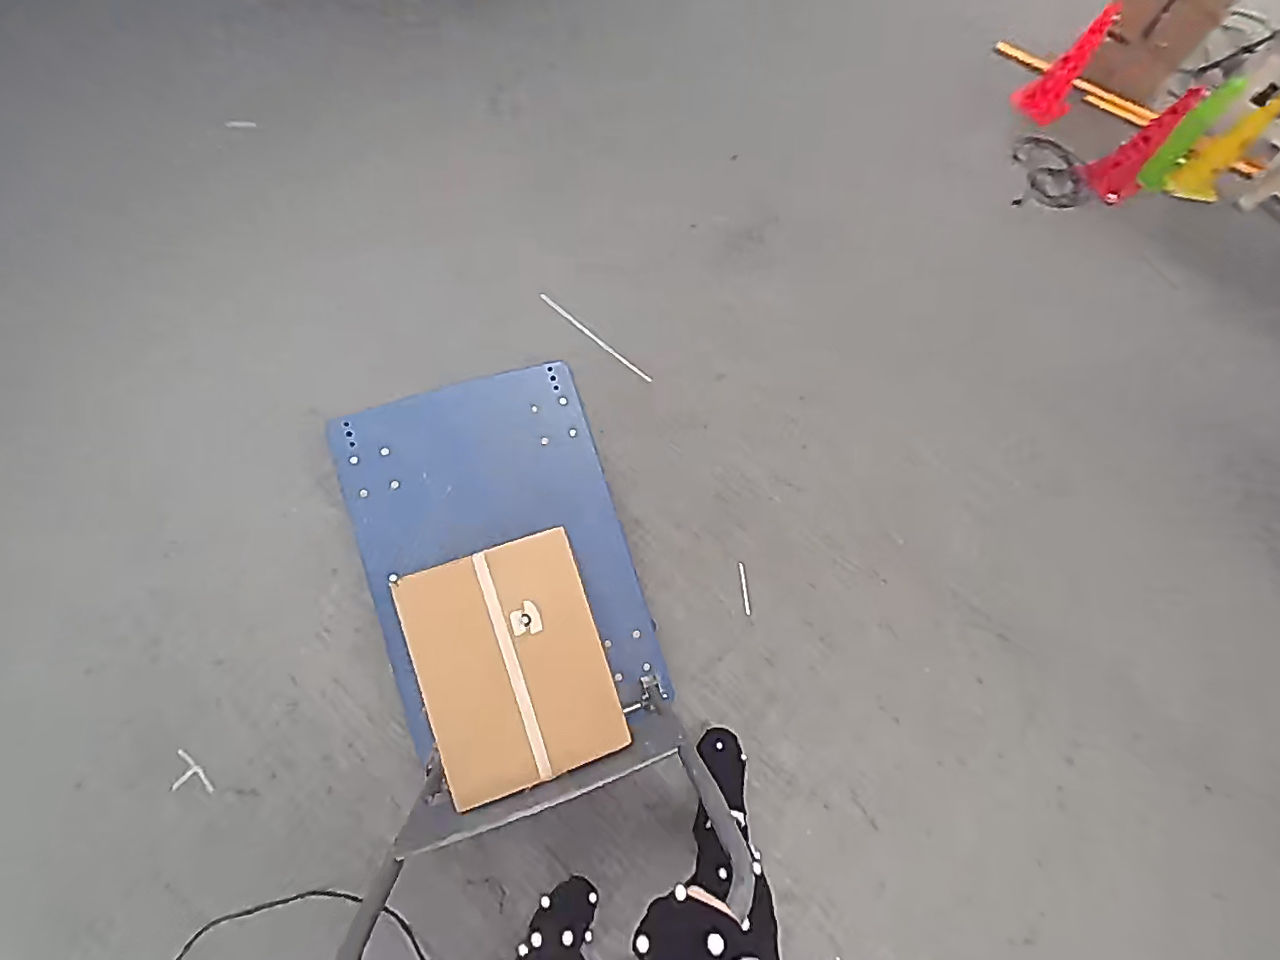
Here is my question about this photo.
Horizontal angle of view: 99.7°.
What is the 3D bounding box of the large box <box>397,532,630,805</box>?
[{"bbox_3d":[-0.238,0.345,1.106,0.320,0.320,0.408,-18,85,-9],"label":"large box"}]
